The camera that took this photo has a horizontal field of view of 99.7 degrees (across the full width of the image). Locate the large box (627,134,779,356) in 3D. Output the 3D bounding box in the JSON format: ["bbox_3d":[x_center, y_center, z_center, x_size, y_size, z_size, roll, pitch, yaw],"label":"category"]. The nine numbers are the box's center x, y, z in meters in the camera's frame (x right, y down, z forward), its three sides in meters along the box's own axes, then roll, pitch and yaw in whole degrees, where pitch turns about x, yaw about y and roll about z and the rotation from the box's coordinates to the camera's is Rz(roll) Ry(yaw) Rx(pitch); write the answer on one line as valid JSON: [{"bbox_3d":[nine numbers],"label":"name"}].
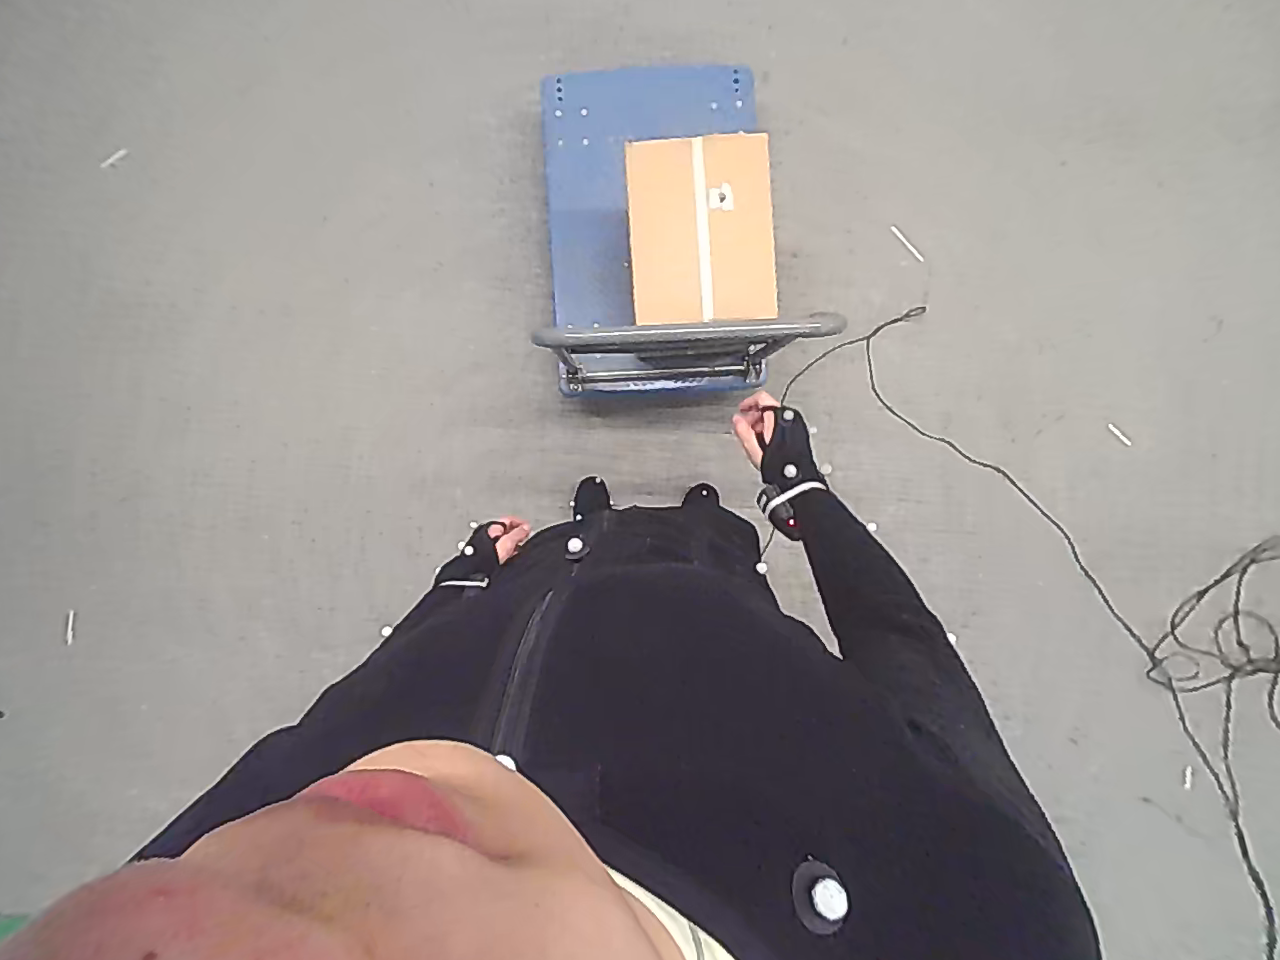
[{"bbox_3d":[0.138,-0.545,1.325,0.320,0.320,0.408,-3,91,-1],"label":"large box"}]
